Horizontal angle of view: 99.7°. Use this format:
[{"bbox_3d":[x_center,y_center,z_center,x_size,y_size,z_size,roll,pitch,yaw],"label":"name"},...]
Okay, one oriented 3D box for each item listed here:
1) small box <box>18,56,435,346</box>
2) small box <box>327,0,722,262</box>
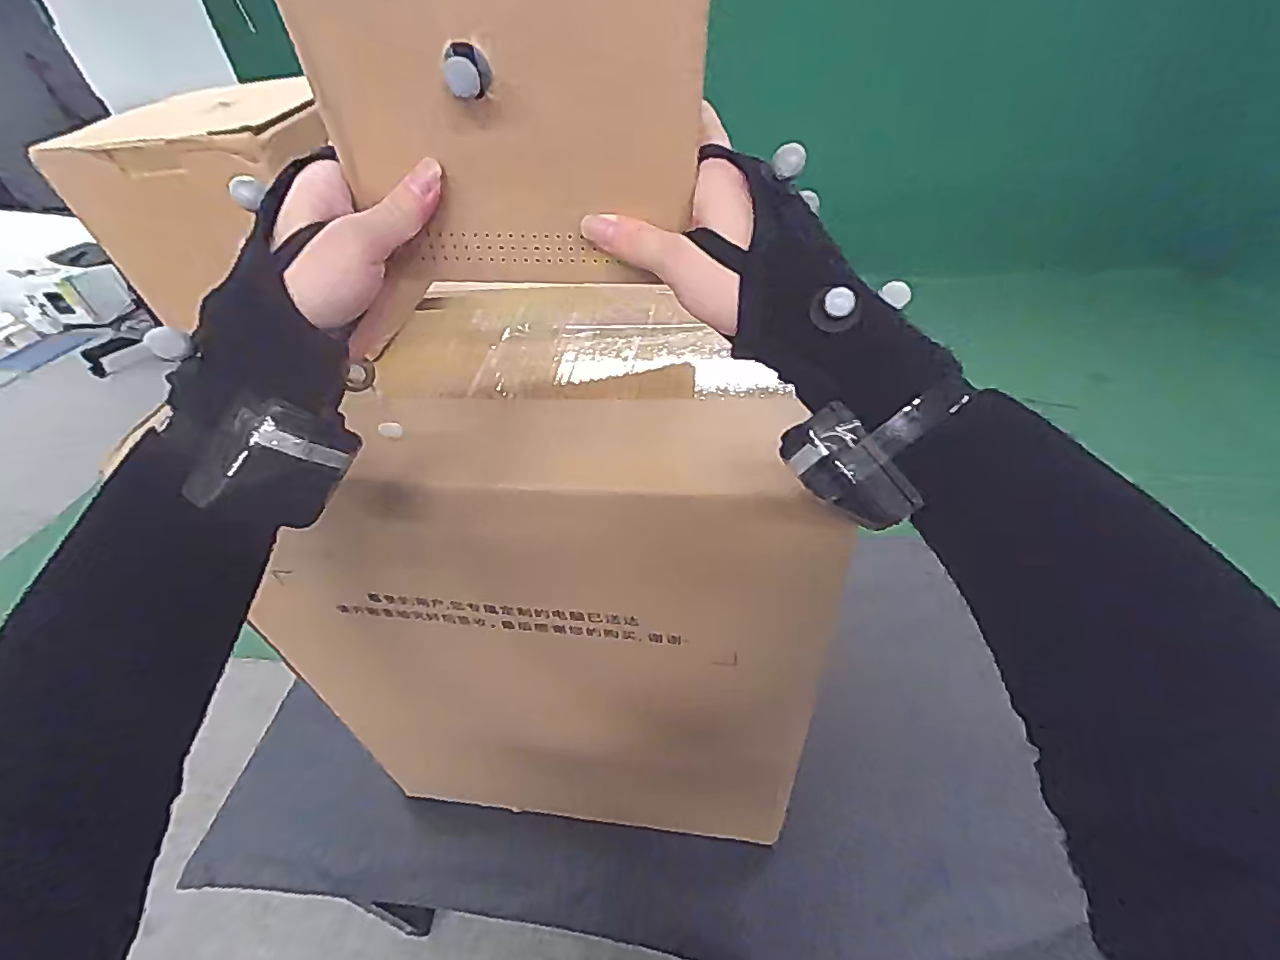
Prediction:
[{"bbox_3d":[-0.290,-0.221,0.437,0.168,0.176,0.179,1,44,6],"label":"small box"},{"bbox_3d":[-0.048,-0.234,0.292,0.179,0.176,0.168,2,49,1],"label":"small box"}]
